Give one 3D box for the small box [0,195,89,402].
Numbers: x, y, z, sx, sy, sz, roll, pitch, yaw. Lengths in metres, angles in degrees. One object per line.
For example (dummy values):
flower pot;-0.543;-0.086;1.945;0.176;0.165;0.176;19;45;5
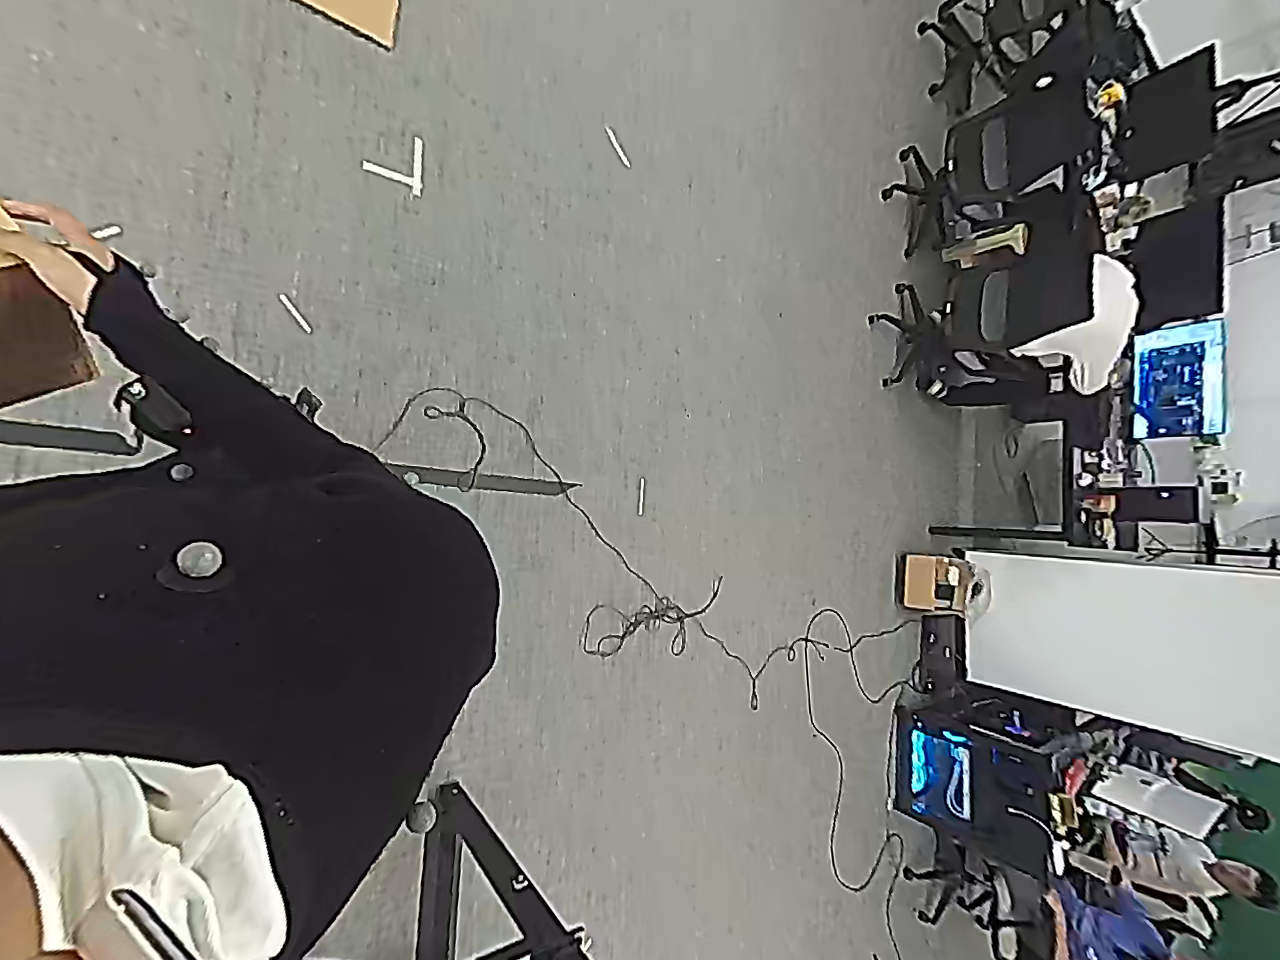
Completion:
small box;-0.650;-0.172;0.479;0.168;0.176;0.179;46;49;2
